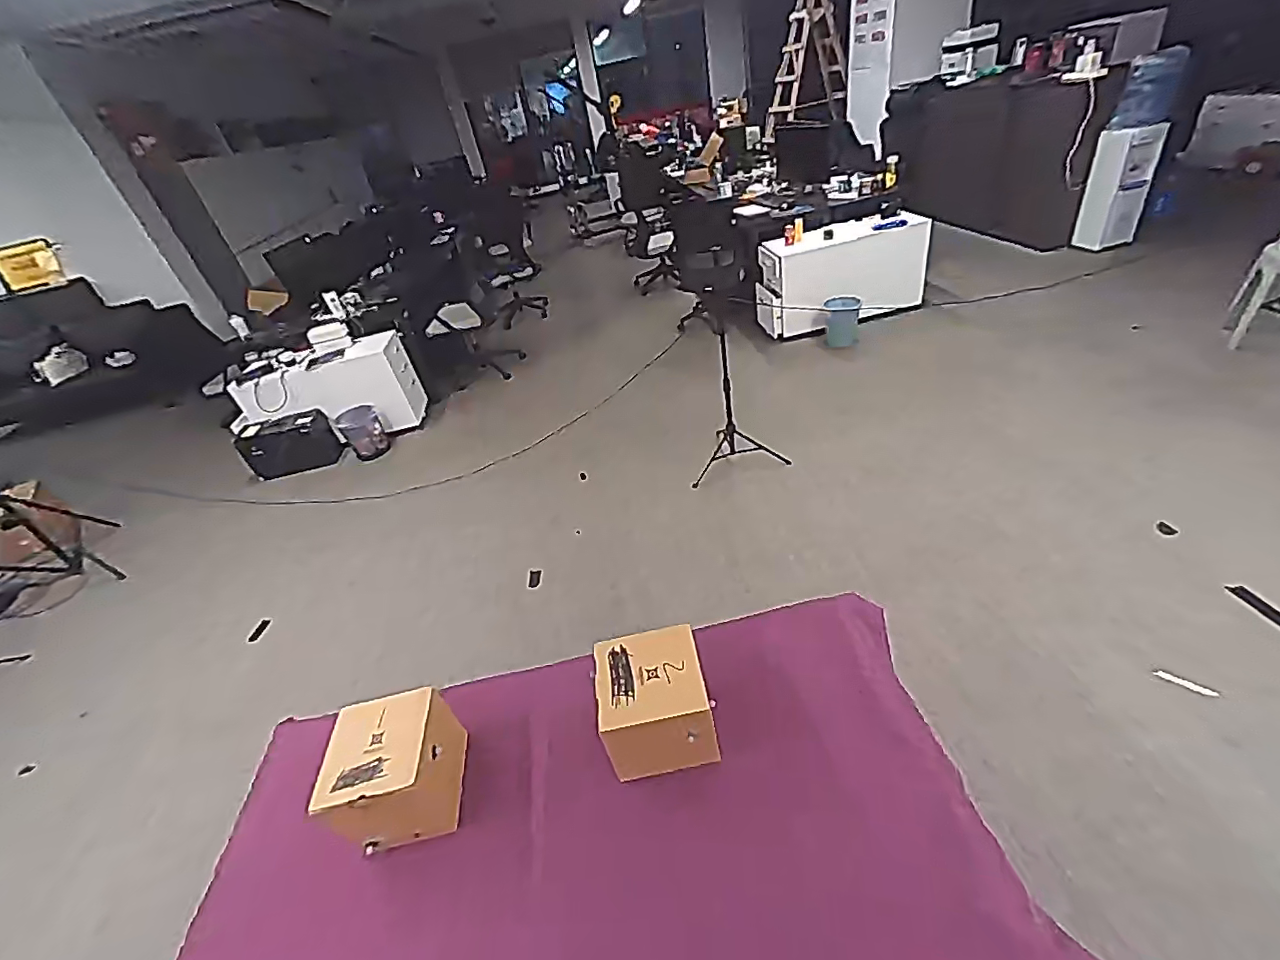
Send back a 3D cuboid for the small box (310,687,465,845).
[{"bbox_3d":[-0.413,0.492,0.922,0.168,0.176,0.179,-13,36,-1],"label":"small box"}]
